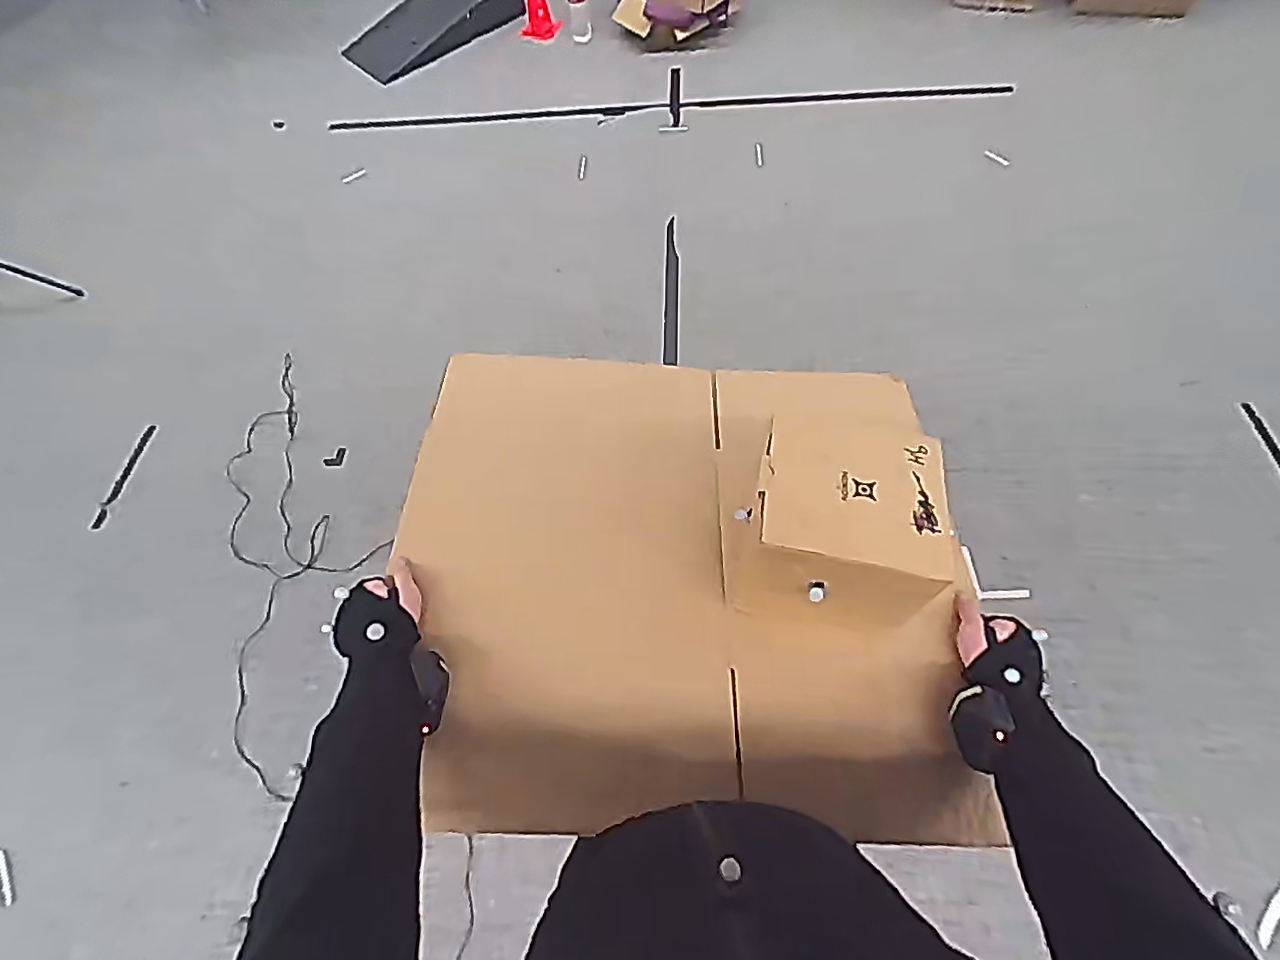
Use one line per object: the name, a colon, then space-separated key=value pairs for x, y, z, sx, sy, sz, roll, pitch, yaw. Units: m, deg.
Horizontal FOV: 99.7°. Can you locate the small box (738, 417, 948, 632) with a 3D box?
small box: x=0.211 y=0.055 z=0.605 sx=0.179 sy=0.176 sz=0.168 roll=10 pitch=58 yaw=7
